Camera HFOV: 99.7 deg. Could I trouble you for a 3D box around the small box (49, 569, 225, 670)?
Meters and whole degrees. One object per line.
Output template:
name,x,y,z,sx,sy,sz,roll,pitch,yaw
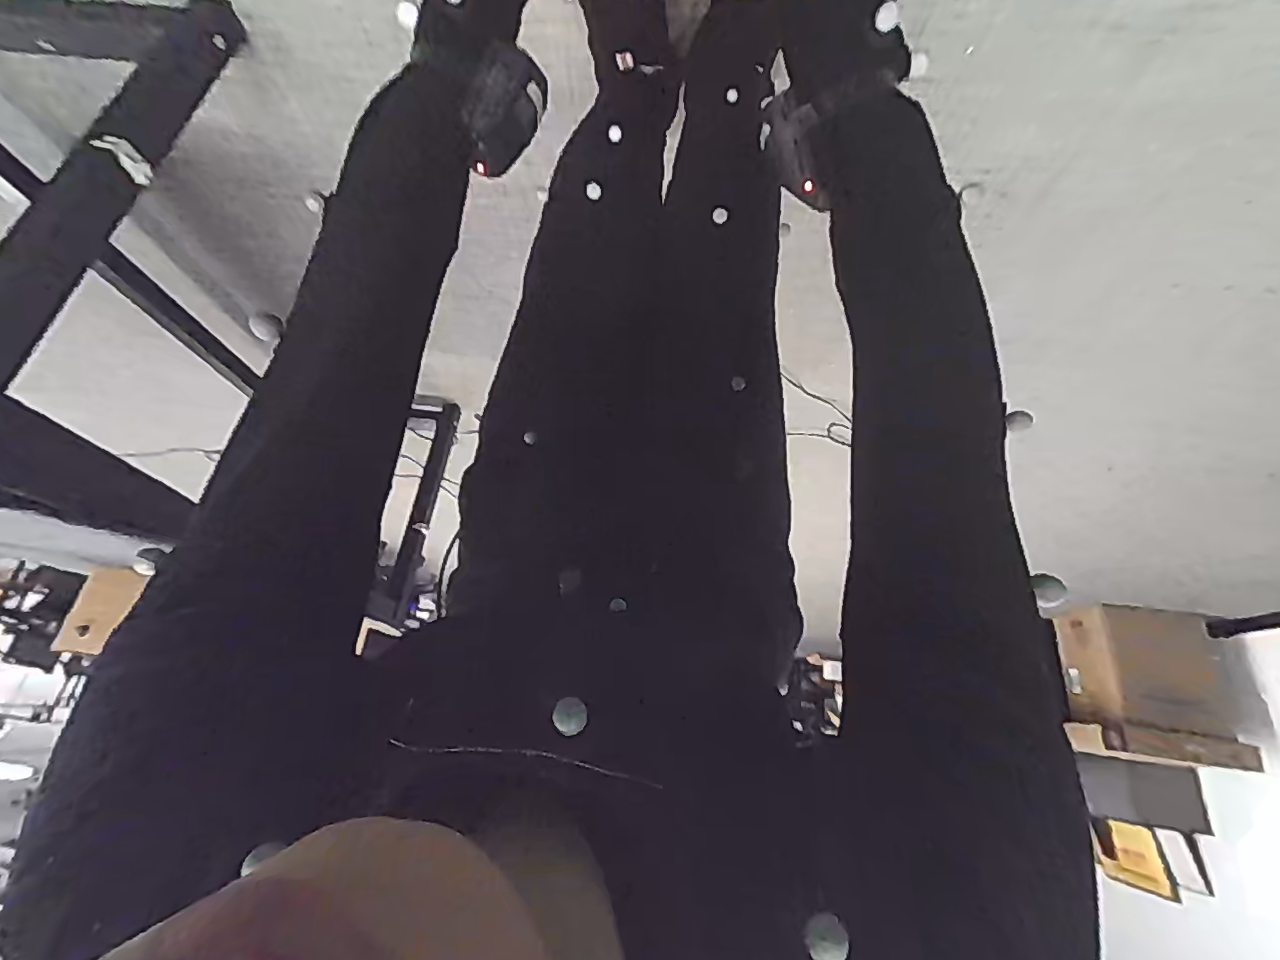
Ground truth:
small box,-1.021,0.288,1.117,0.179,0.176,0.168,6,157,1
